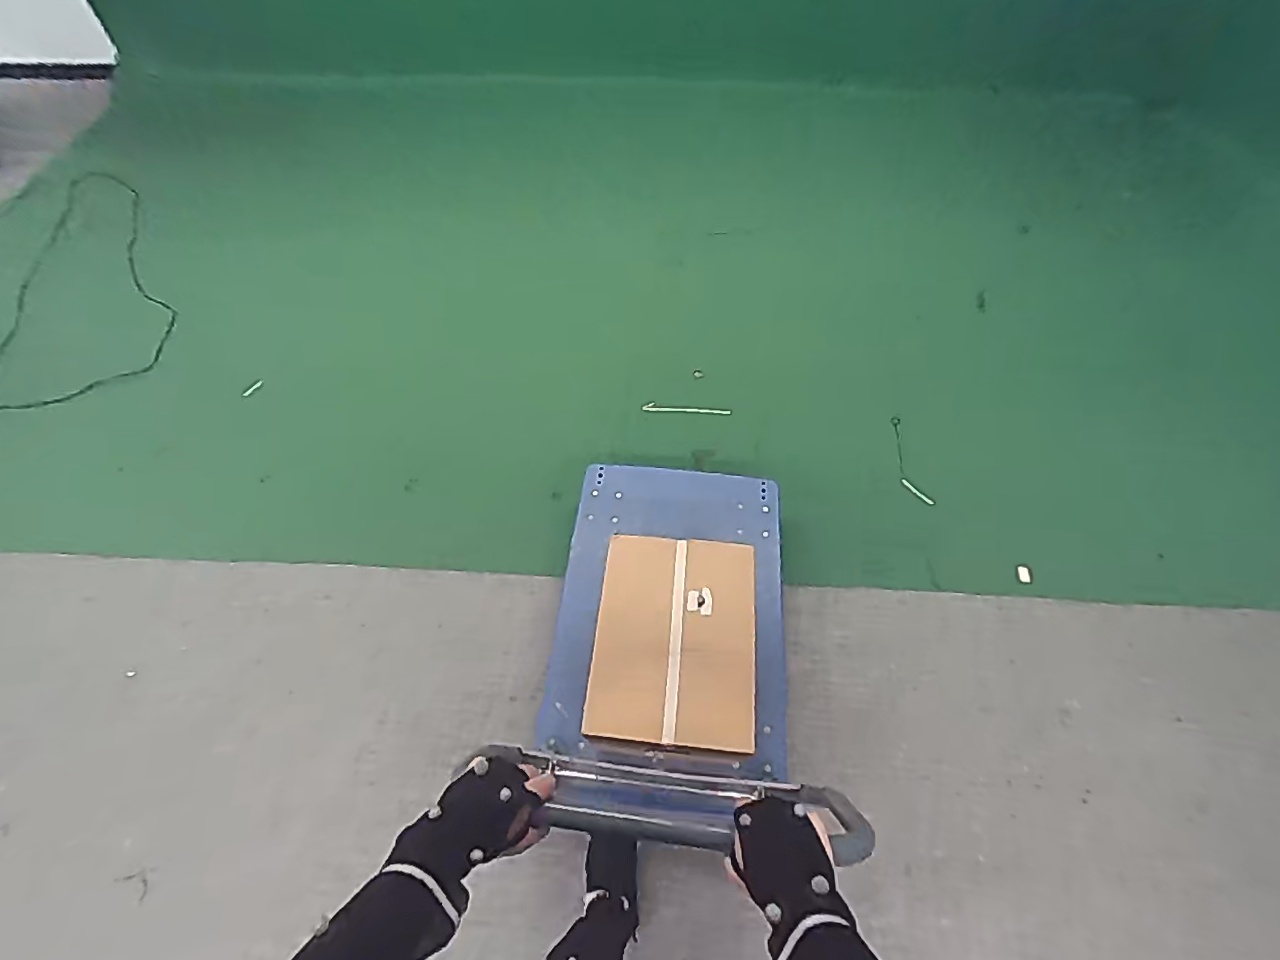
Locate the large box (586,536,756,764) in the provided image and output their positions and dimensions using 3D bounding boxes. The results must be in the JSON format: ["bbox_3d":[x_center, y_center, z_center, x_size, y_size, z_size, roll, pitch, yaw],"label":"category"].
[{"bbox_3d":[0.078,0.381,1.196,0.320,0.320,0.408,5,58,4],"label":"large box"}]
